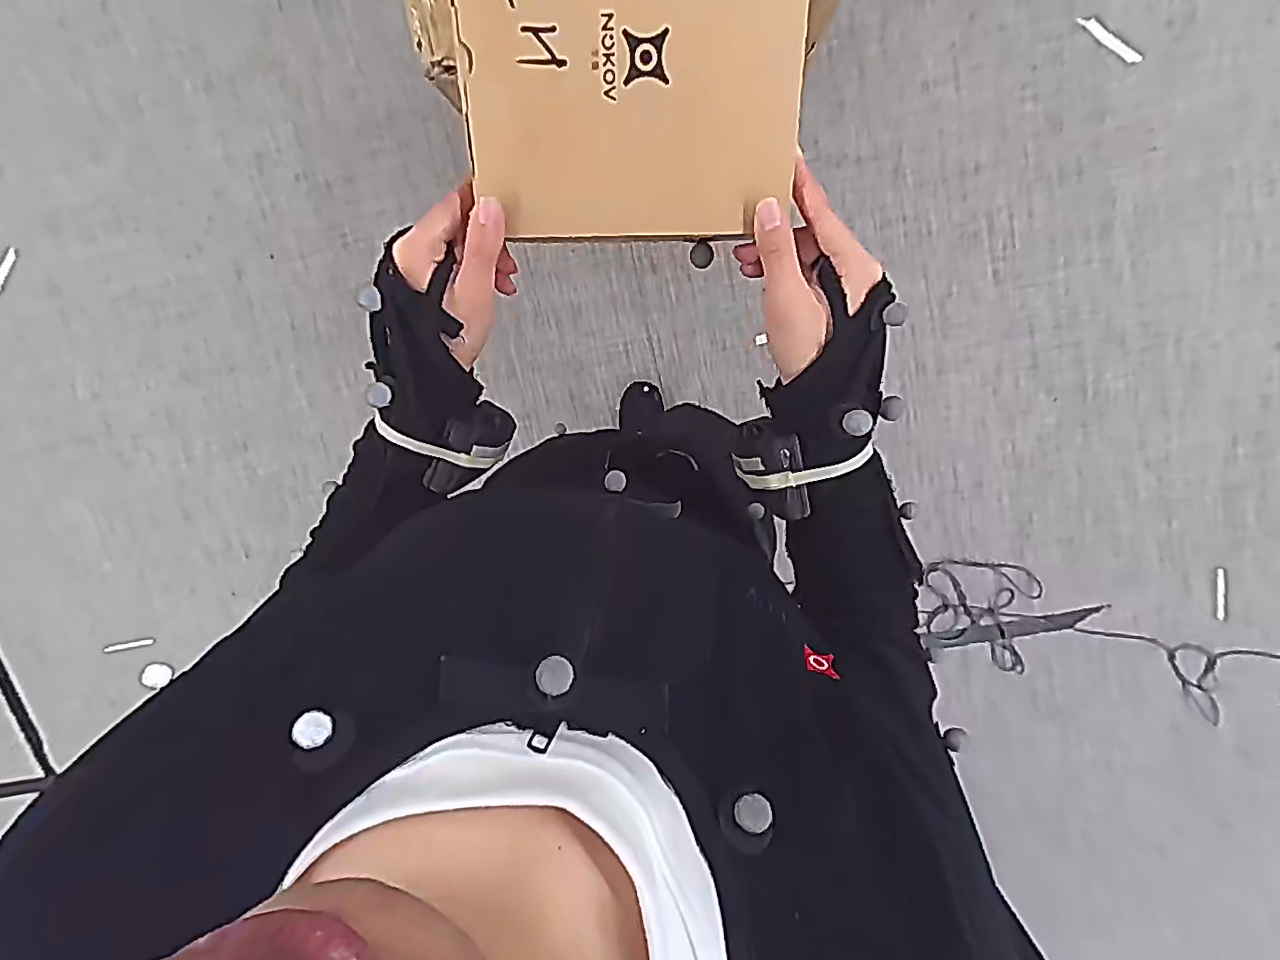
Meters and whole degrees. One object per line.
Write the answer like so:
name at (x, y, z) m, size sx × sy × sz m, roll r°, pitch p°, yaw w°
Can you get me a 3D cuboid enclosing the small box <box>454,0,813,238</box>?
small box at (-0.001, -0.246, 0.340) m, size 0.179 × 0.176 × 0.168 m, roll 1°, pitch 113°, yaw 2°
